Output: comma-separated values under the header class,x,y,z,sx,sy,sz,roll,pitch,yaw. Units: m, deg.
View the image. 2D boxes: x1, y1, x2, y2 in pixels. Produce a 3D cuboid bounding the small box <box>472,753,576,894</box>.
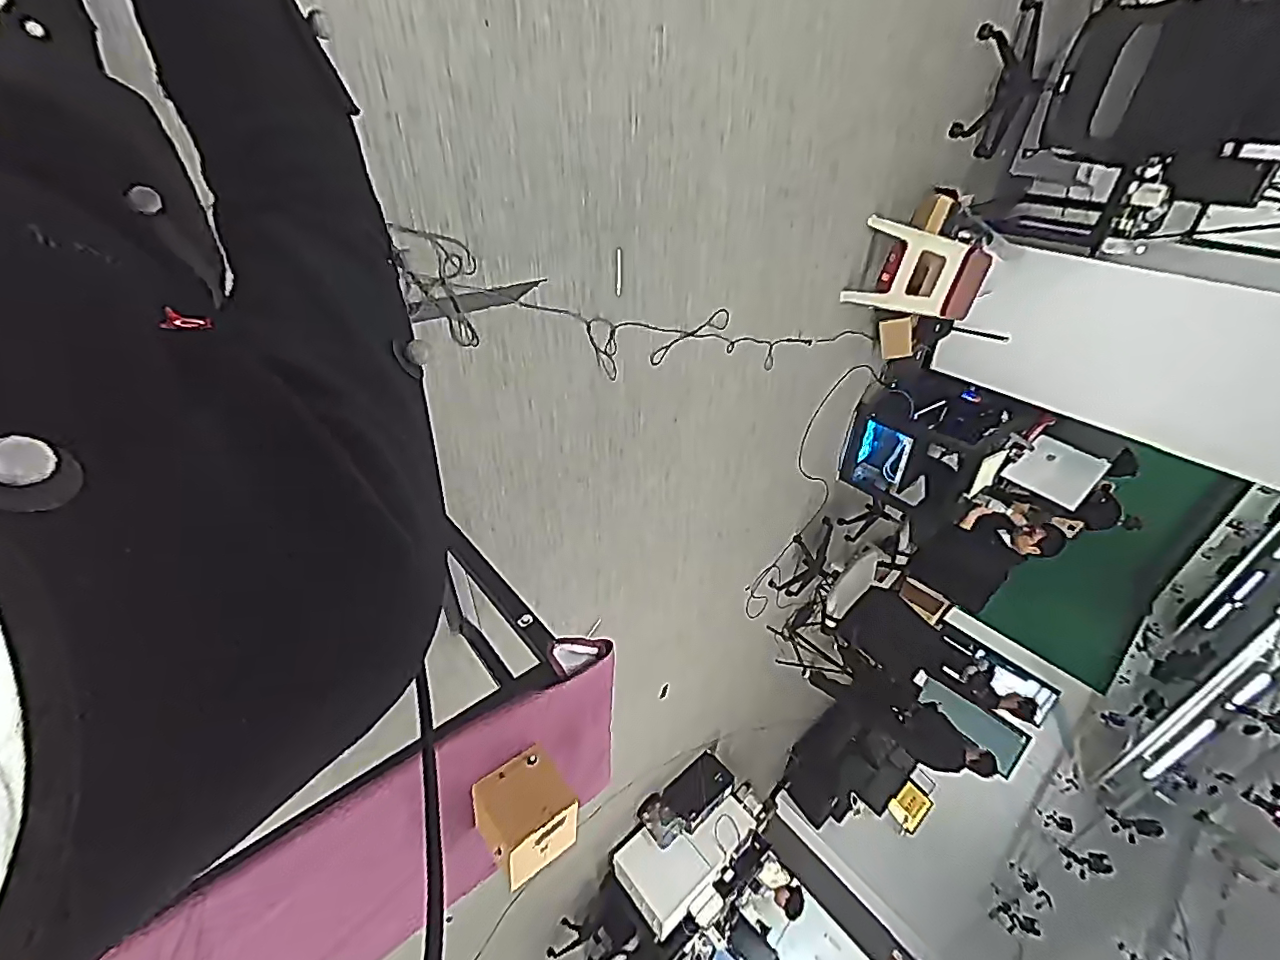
class,x,y,z,sx,sy,sz,roll,pitch,yaw
small box,-0.259,0.743,1.193,0.168,0.176,0.179,-19,130,-37
